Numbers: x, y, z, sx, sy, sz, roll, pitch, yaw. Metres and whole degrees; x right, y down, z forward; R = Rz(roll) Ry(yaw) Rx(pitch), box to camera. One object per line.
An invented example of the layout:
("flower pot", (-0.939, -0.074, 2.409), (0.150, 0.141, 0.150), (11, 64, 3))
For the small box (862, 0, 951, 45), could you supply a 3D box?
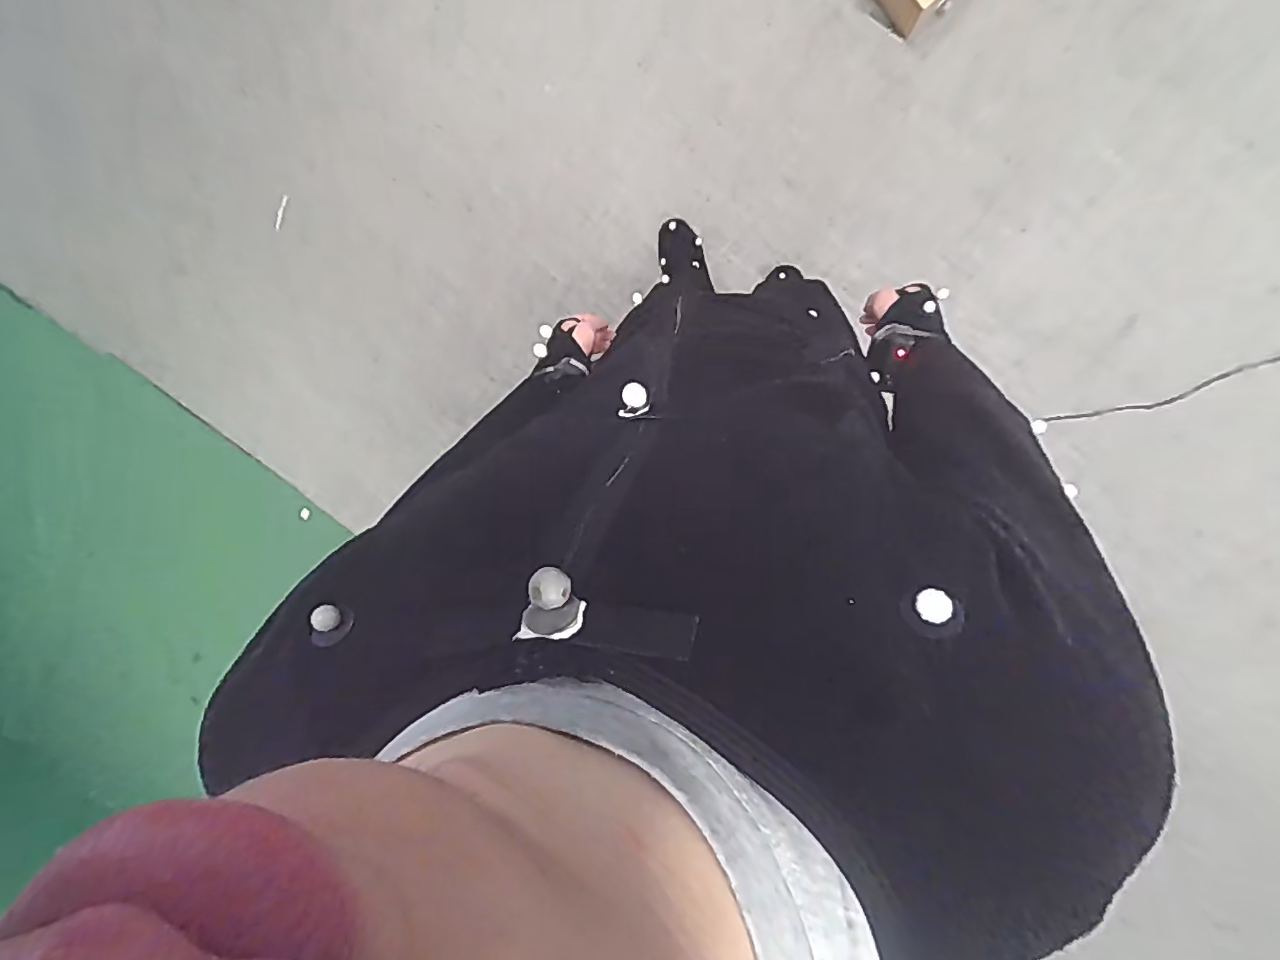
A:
("small box", (0.530, -0.989, 1.032), (0.168, 0.176, 0.179), (-39, 100, 26))
